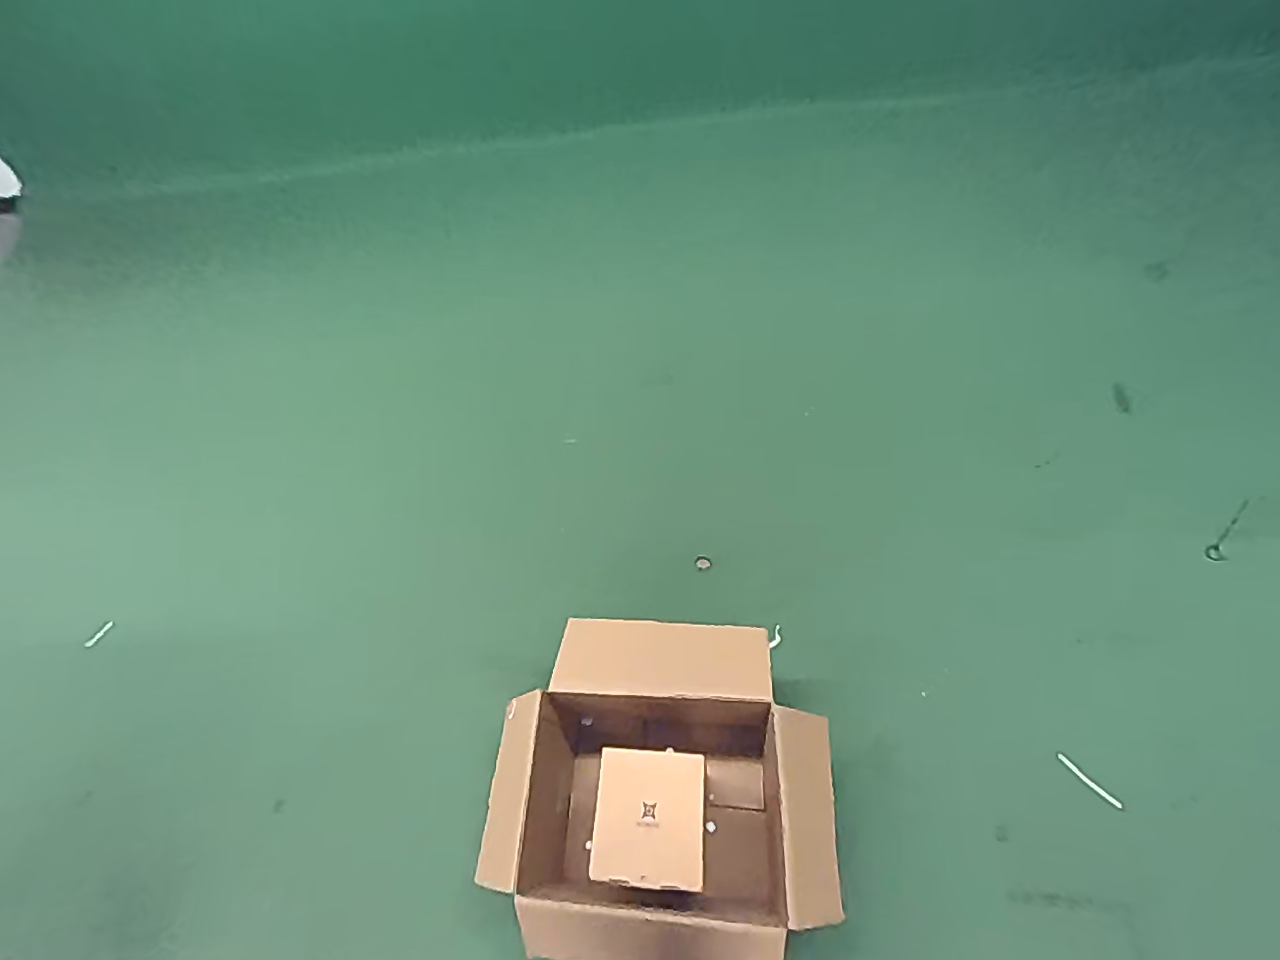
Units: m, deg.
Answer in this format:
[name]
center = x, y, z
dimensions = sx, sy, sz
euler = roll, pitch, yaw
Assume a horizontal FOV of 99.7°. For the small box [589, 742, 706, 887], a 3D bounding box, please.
[small box]
center = 0.022, 0.540, 0.878
dimensions = 0.168, 0.176, 0.179
euler = 1, 57, 8
